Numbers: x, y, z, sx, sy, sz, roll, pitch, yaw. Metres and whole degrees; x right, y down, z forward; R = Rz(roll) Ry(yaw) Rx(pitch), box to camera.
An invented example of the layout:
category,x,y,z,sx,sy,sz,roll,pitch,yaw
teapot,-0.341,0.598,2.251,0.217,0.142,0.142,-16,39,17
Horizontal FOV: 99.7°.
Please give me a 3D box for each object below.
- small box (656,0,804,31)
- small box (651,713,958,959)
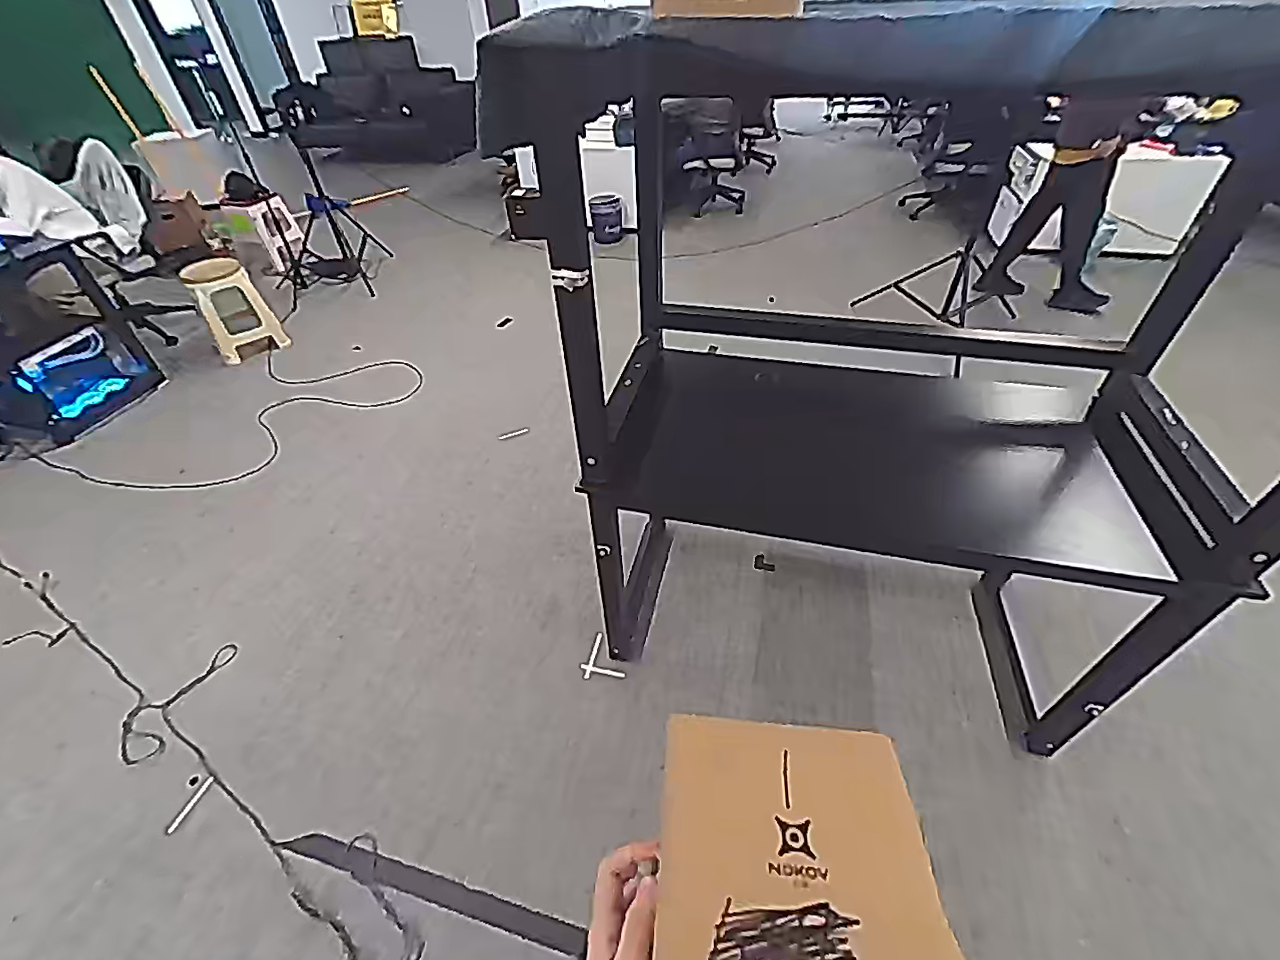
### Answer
category,x,y,z,sx,sy,sz,roll,pitch,yaw
small box,0.112,-0.623,0.613,0.168,0.176,0.179,9,41,11
small box,0.095,0.298,0.379,0.168,0.176,0.179,4,33,4
